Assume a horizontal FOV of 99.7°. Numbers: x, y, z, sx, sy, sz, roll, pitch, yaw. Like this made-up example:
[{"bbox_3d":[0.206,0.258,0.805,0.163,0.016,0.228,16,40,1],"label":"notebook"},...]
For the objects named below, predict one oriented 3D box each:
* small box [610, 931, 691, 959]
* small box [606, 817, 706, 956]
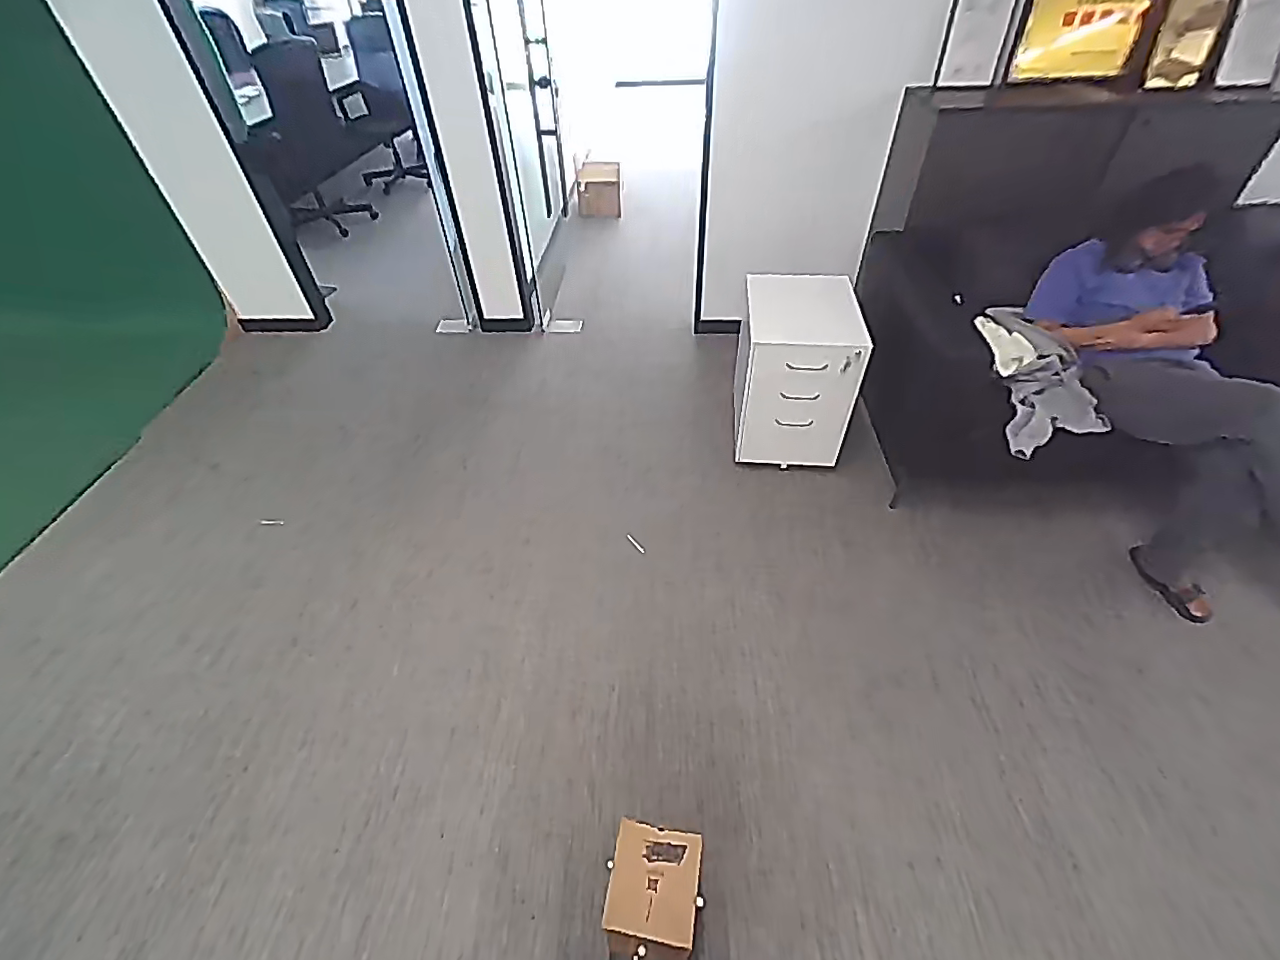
[{"bbox_3d":[0.033,0.927,1.177,0.168,0.176,0.179,7,45,8],"label":"small box"},{"bbox_3d":[0.034,0.803,1.067,0.168,0.176,0.179,7,46,9],"label":"small box"}]
